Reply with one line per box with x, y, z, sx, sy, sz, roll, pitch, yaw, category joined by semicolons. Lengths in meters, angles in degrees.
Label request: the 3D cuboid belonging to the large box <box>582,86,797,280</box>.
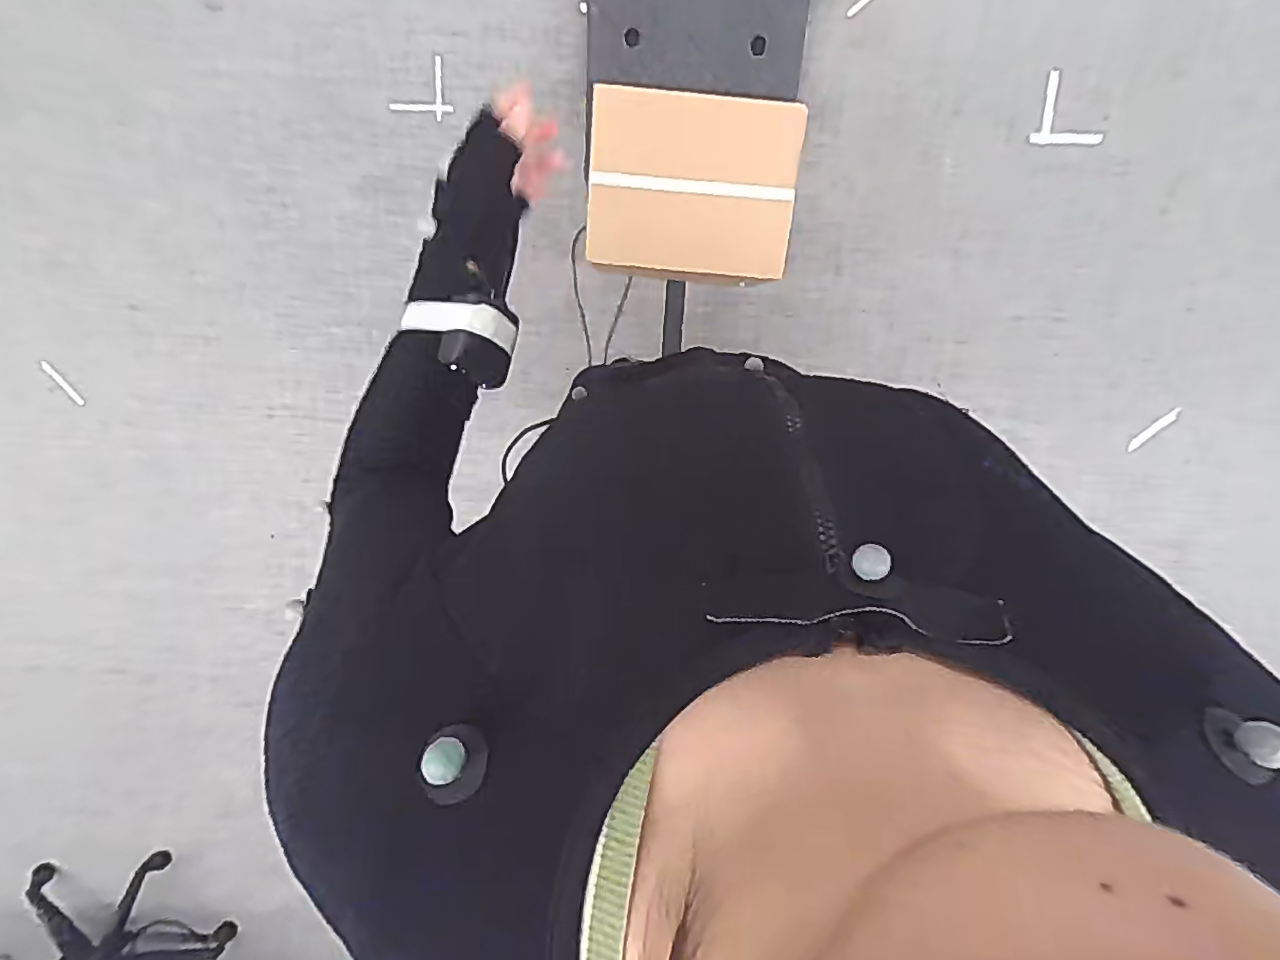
0.091;-0.625;1.201;0.408;0.320;0.320;5;107;-2;large box

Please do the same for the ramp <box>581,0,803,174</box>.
0.126;-1.195;1.141;0.509;0.206;0.991;1;103;-2;ramp
